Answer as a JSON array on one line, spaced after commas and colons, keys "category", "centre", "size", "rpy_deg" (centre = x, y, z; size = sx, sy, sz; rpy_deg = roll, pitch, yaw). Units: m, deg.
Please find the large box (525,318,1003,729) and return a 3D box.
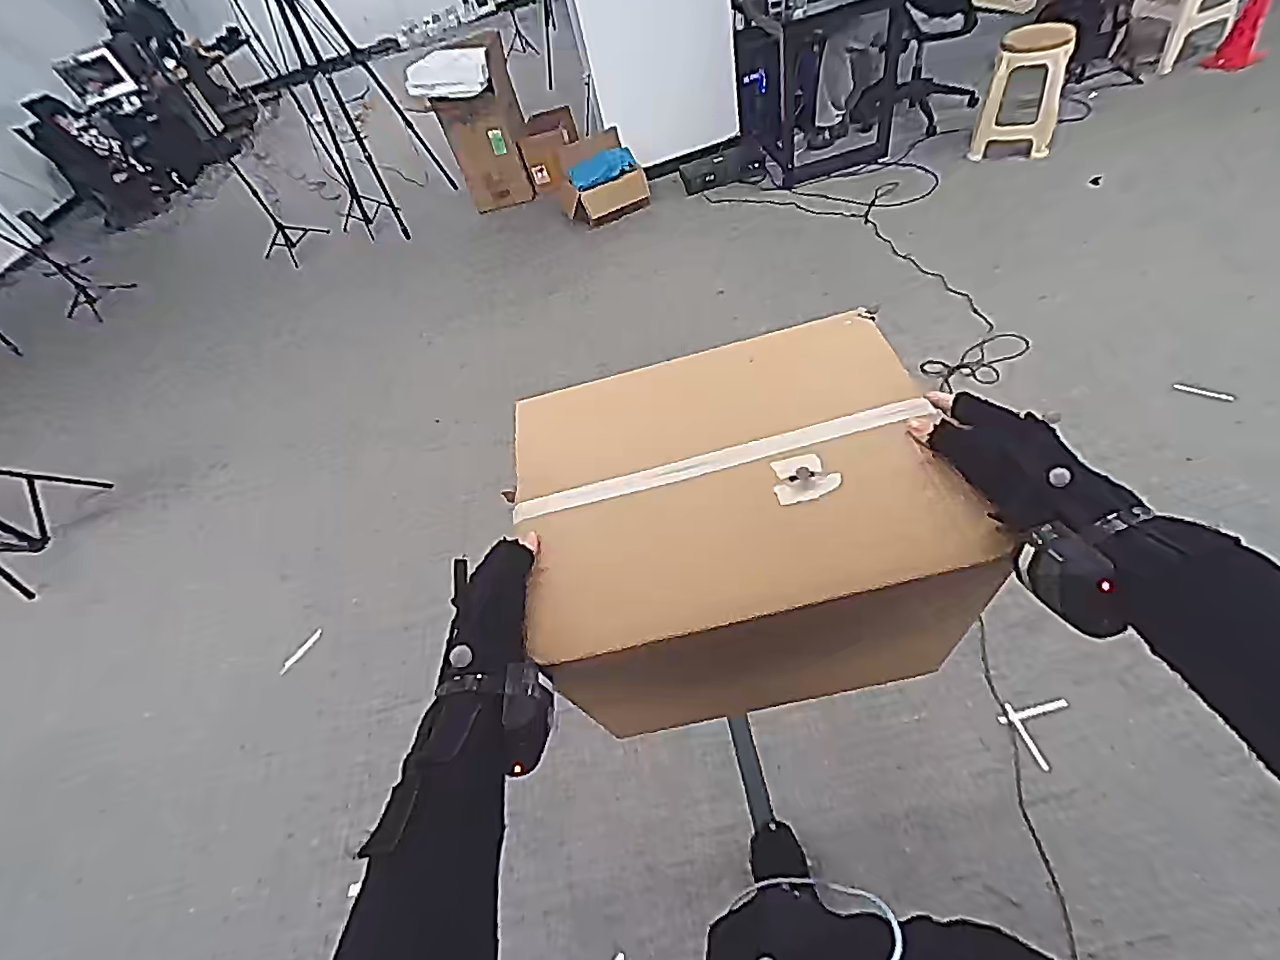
[{"category": "large box", "centre": [0.108, 0.068, 0.654], "size": [0.408, 0.320, 0.320], "rpy_deg": [-14, 54, 4]}]
